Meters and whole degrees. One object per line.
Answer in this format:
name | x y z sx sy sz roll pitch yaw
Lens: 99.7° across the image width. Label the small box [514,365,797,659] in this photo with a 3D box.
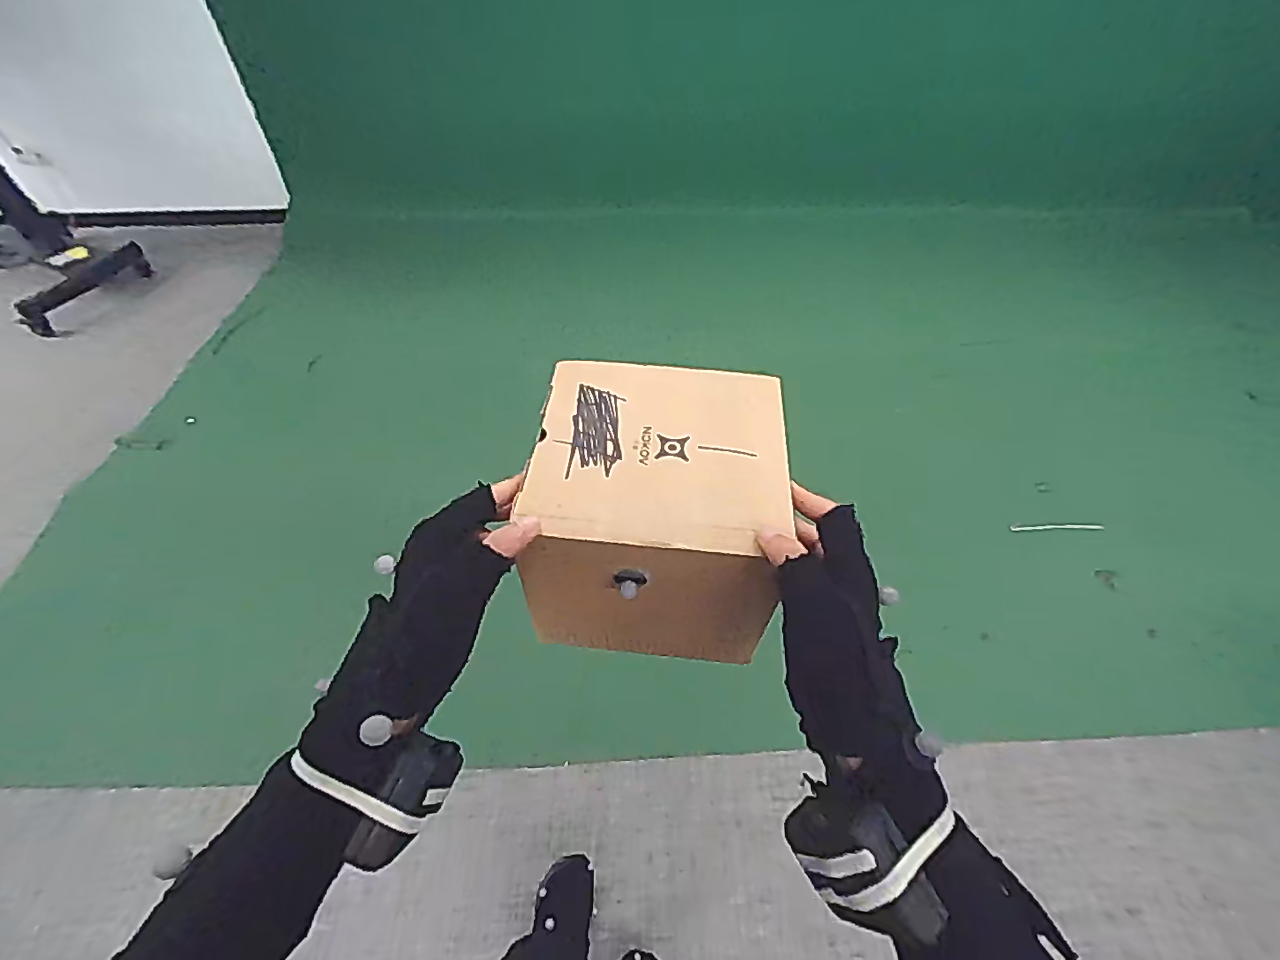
small box | 0.015 0.030 0.436 0.179 0.176 0.168 6 51 2
